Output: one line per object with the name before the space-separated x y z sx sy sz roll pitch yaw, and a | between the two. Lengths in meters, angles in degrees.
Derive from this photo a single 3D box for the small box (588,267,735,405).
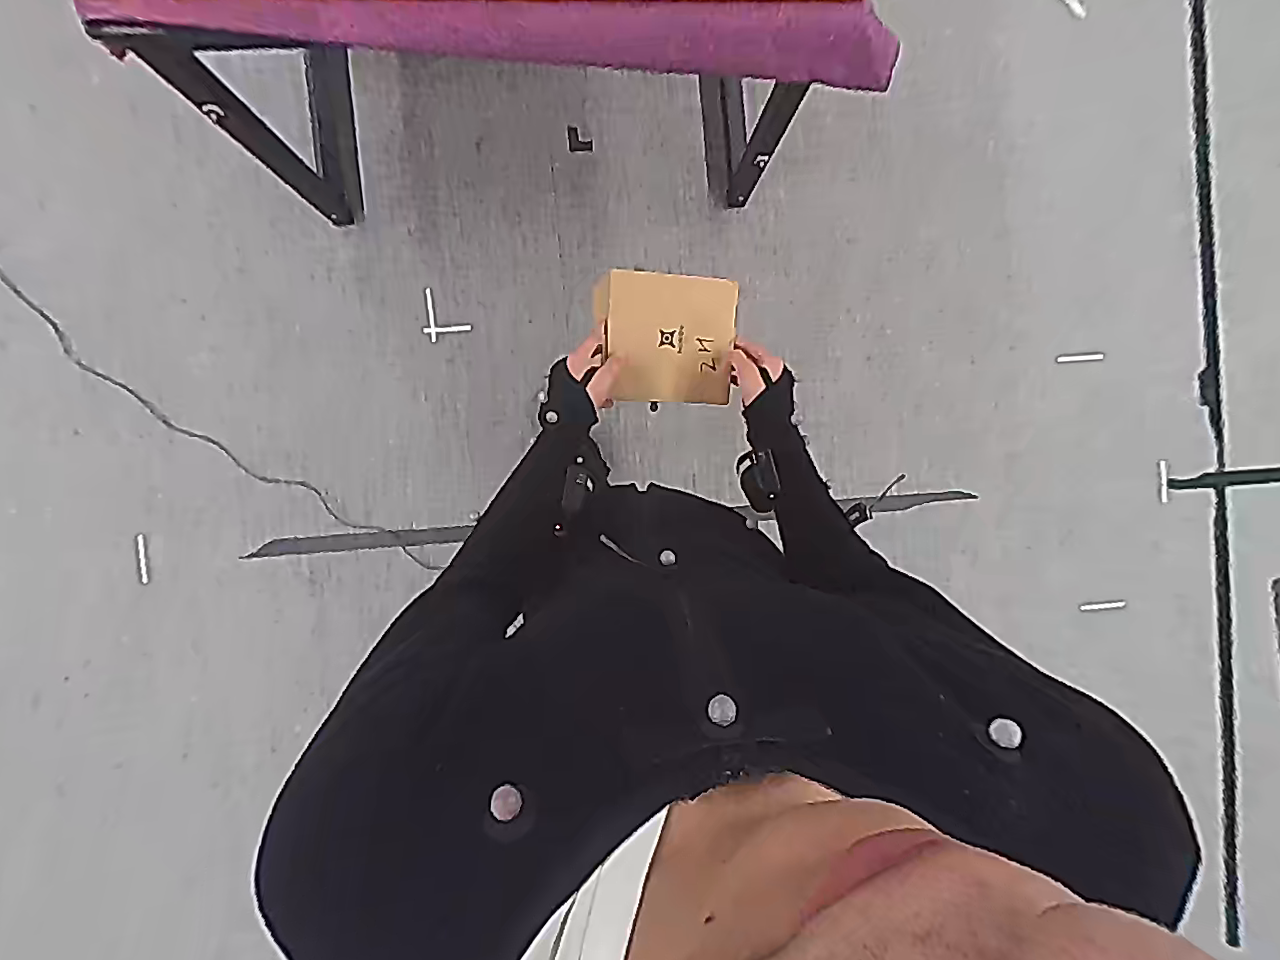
small box | 0.020 -0.198 0.779 0.179 0.176 0.168 1 101 -12
